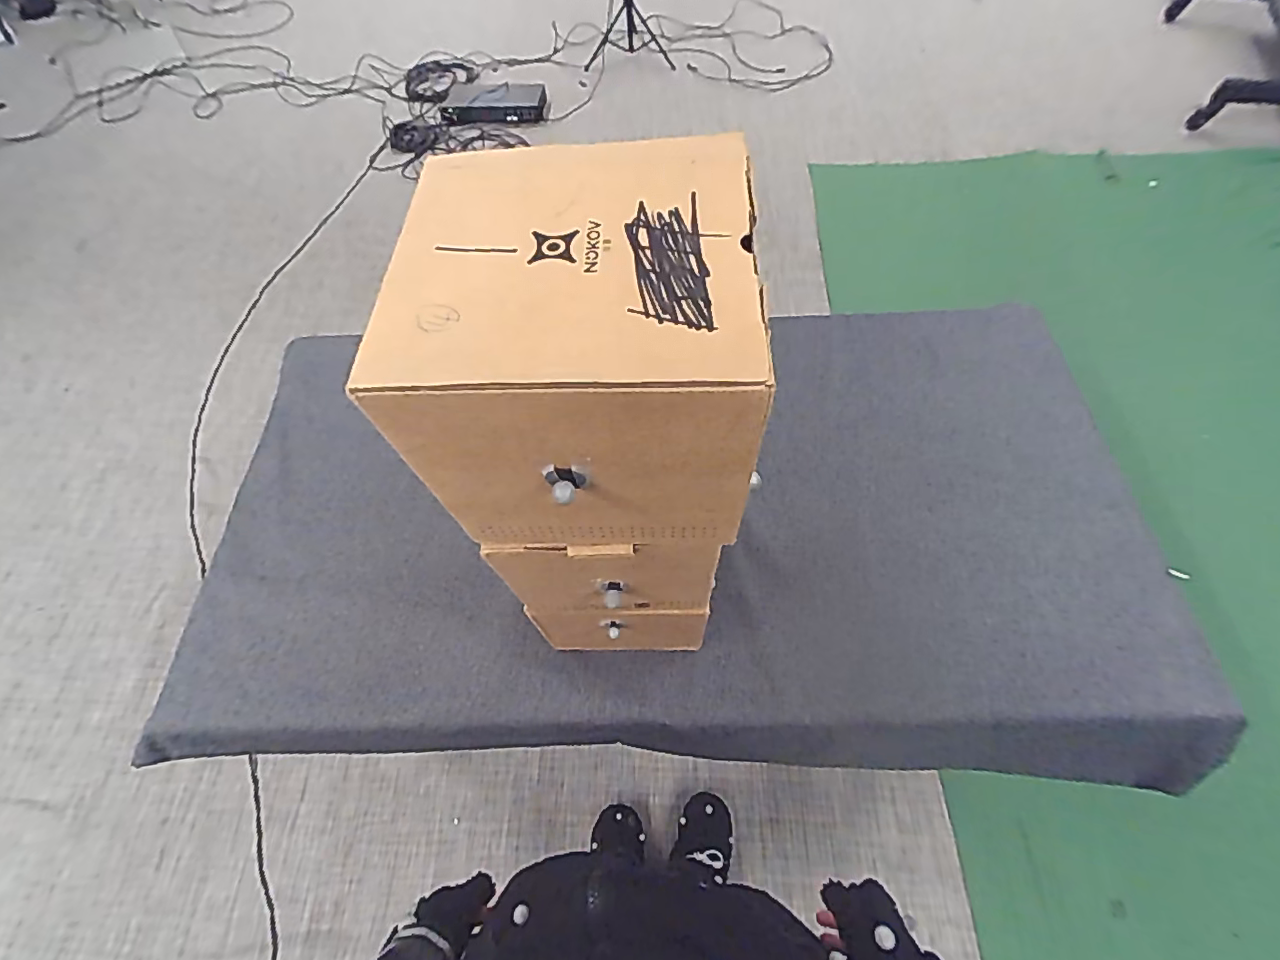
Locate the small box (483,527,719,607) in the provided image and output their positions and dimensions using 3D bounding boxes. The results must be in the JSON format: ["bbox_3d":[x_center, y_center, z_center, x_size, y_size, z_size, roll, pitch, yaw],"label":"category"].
[{"bbox_3d":[-0.023,0.009,0.472,0.168,0.176,0.179,-3,62,2],"label":"small box"}]

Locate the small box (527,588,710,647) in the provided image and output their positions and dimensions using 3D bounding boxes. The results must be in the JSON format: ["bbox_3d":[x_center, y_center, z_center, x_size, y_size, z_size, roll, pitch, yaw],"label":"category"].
[{"bbox_3d":[-0.016,0.090,0.613,0.179,0.176,0.168,-1,62,2],"label":"small box"}]

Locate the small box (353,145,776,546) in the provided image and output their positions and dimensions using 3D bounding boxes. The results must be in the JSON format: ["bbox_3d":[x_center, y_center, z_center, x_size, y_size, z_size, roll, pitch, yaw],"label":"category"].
[{"bbox_3d":[-0.026,-0.066,0.325,0.179,0.176,0.168,0,61,4],"label":"small box"}]
